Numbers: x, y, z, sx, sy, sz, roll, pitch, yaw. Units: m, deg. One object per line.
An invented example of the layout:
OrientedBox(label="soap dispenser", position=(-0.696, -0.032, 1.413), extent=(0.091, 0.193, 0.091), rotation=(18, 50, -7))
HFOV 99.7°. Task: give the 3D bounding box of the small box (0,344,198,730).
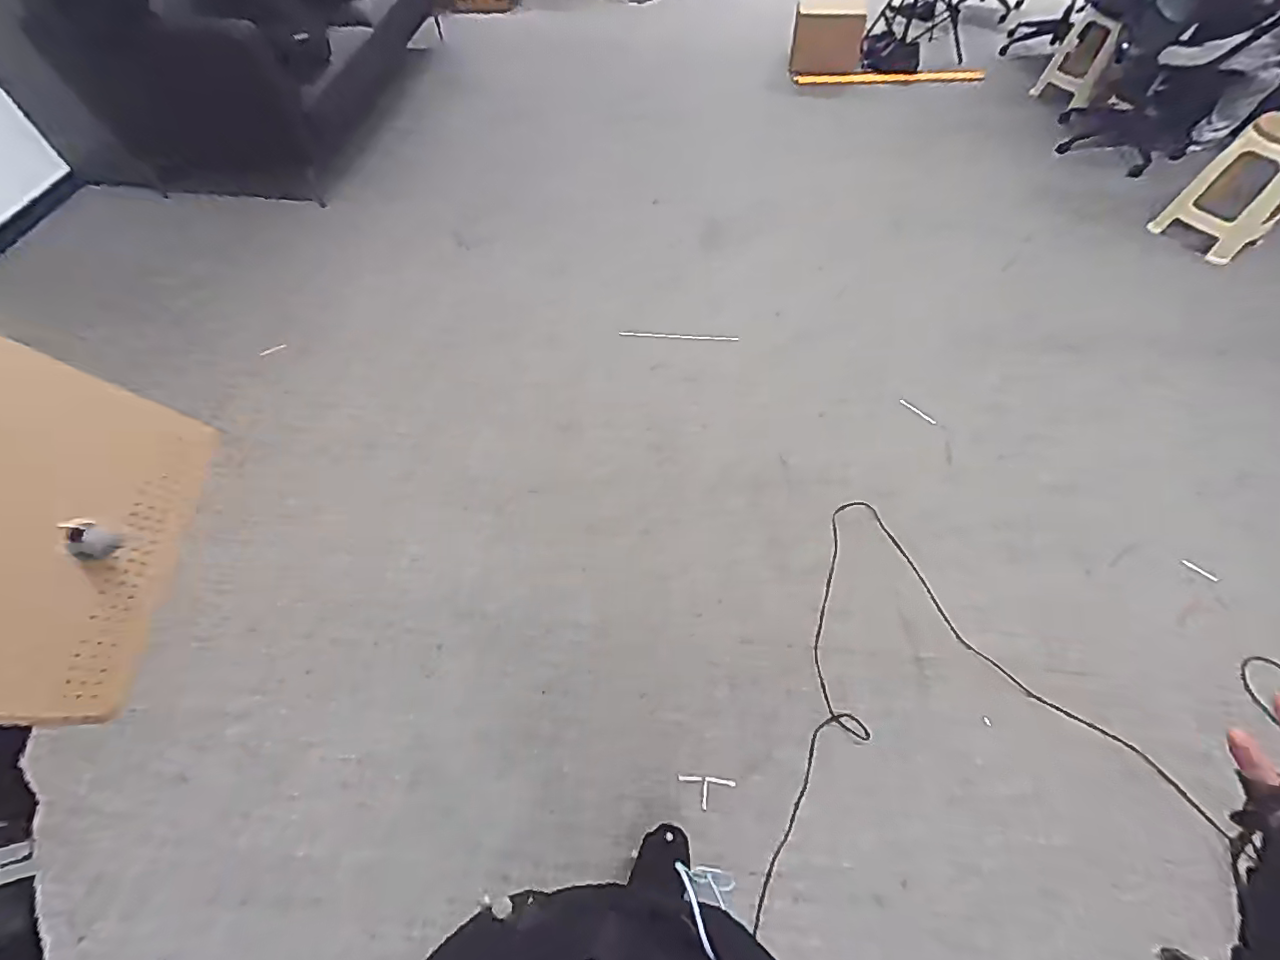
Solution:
OrientedBox(label="small box", position=(-0.376, 0.028, 0.270), extent=(0.168, 0.176, 0.179), rotation=(-10, 64, 19))
